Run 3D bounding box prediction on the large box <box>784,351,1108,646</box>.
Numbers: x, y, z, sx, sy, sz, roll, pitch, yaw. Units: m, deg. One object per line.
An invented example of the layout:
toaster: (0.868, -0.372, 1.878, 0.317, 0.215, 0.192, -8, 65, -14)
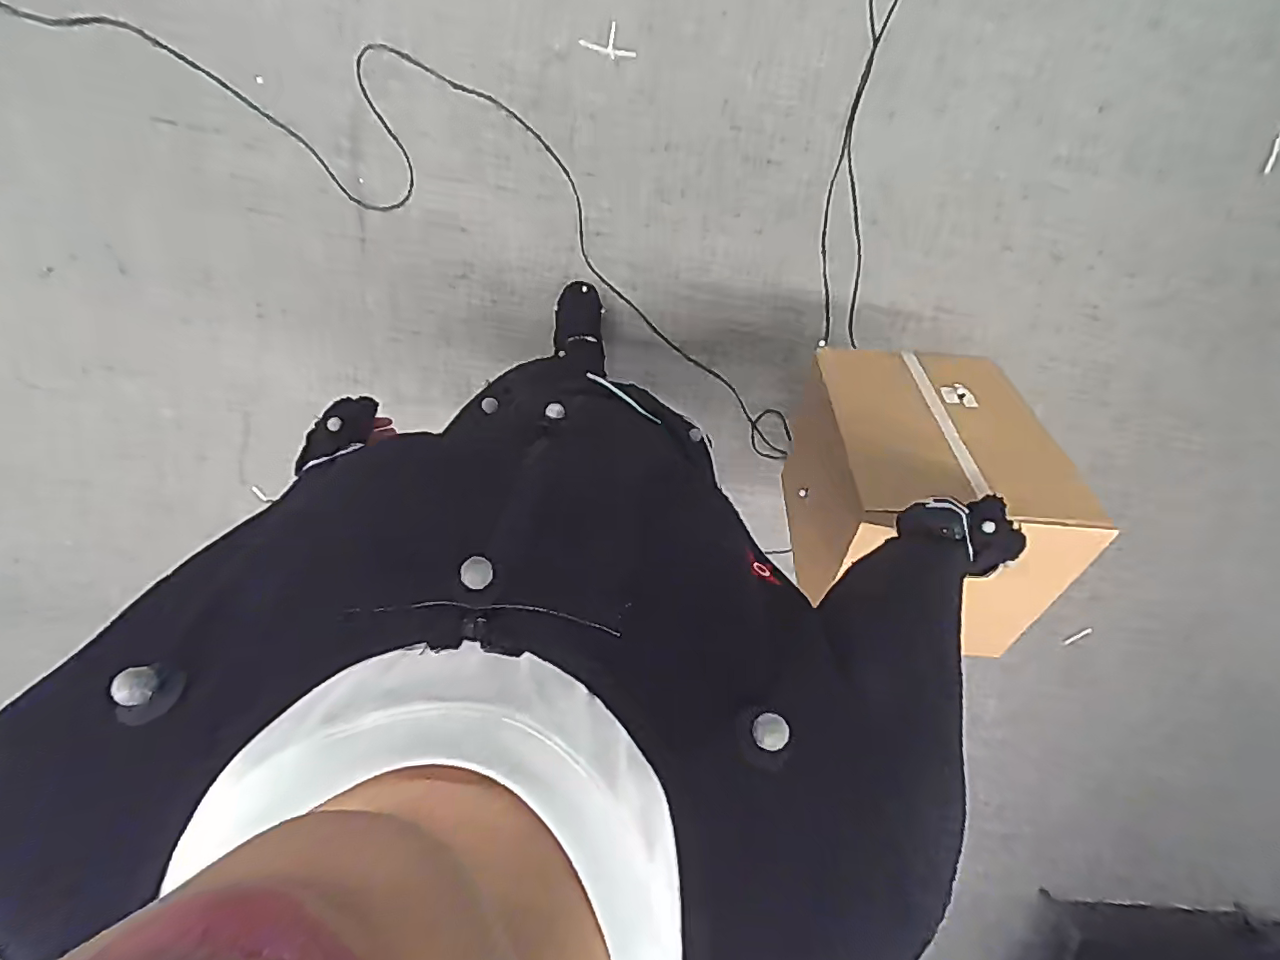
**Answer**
large box: (0.448, 0.023, 0.923, 0.320, 0.408, 0.320, 5, 133, 2)
